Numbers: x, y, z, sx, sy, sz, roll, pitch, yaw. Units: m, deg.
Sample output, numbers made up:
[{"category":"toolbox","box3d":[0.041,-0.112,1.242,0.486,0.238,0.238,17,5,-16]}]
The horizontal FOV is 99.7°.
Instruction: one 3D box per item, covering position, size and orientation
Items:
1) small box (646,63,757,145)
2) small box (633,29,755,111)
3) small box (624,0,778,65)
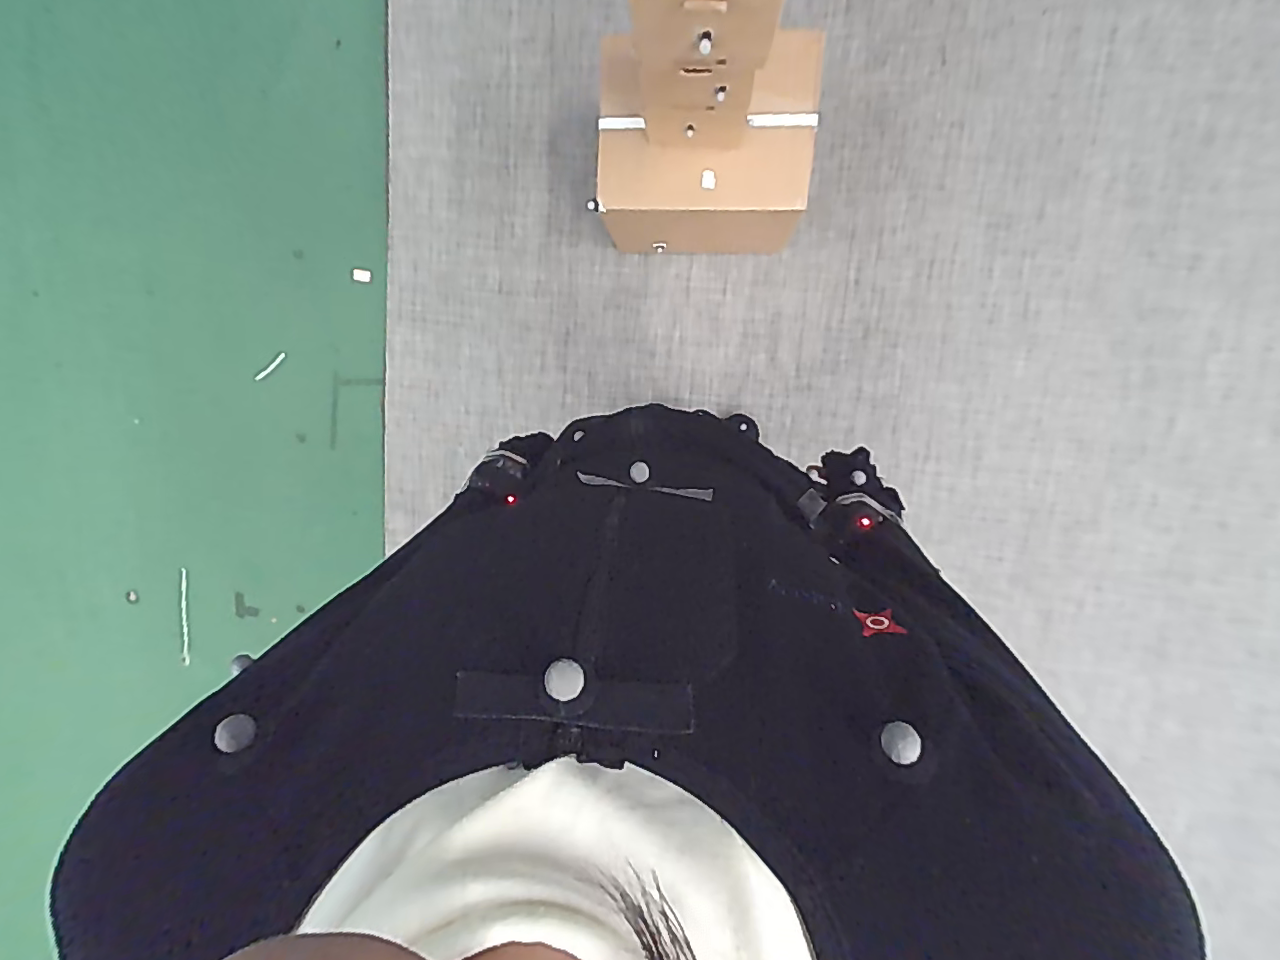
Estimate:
[{"category":"small box","box3d":[0.106,-0.691,0.922,0.179,0.176,0.168,3,105,7]},{"category":"small box","box3d":[0.085,-0.651,0.766,0.168,0.176,0.179,4,104,6]},{"category":"small box","box3d":[0.078,-0.603,0.610,0.168,0.176,0.179,4,105,6]}]
